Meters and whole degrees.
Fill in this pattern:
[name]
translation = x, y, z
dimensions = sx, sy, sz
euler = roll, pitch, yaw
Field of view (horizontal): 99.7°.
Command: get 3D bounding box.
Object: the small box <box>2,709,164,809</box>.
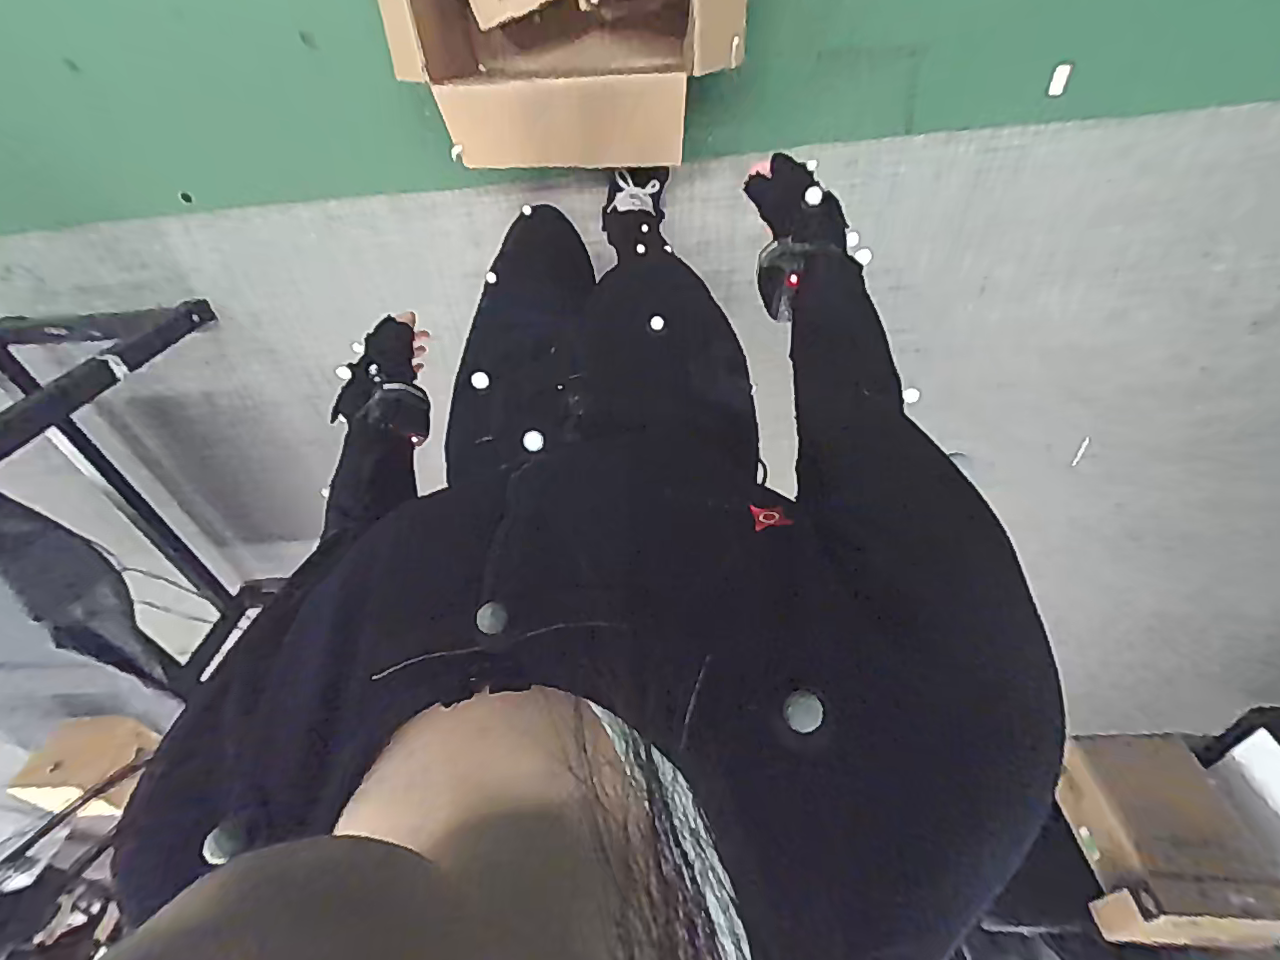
[small box]
translation = -1.333, 0.674, 1.311
dimensions = 0.179, 0.176, 0.168
euler = -5, 129, 5
